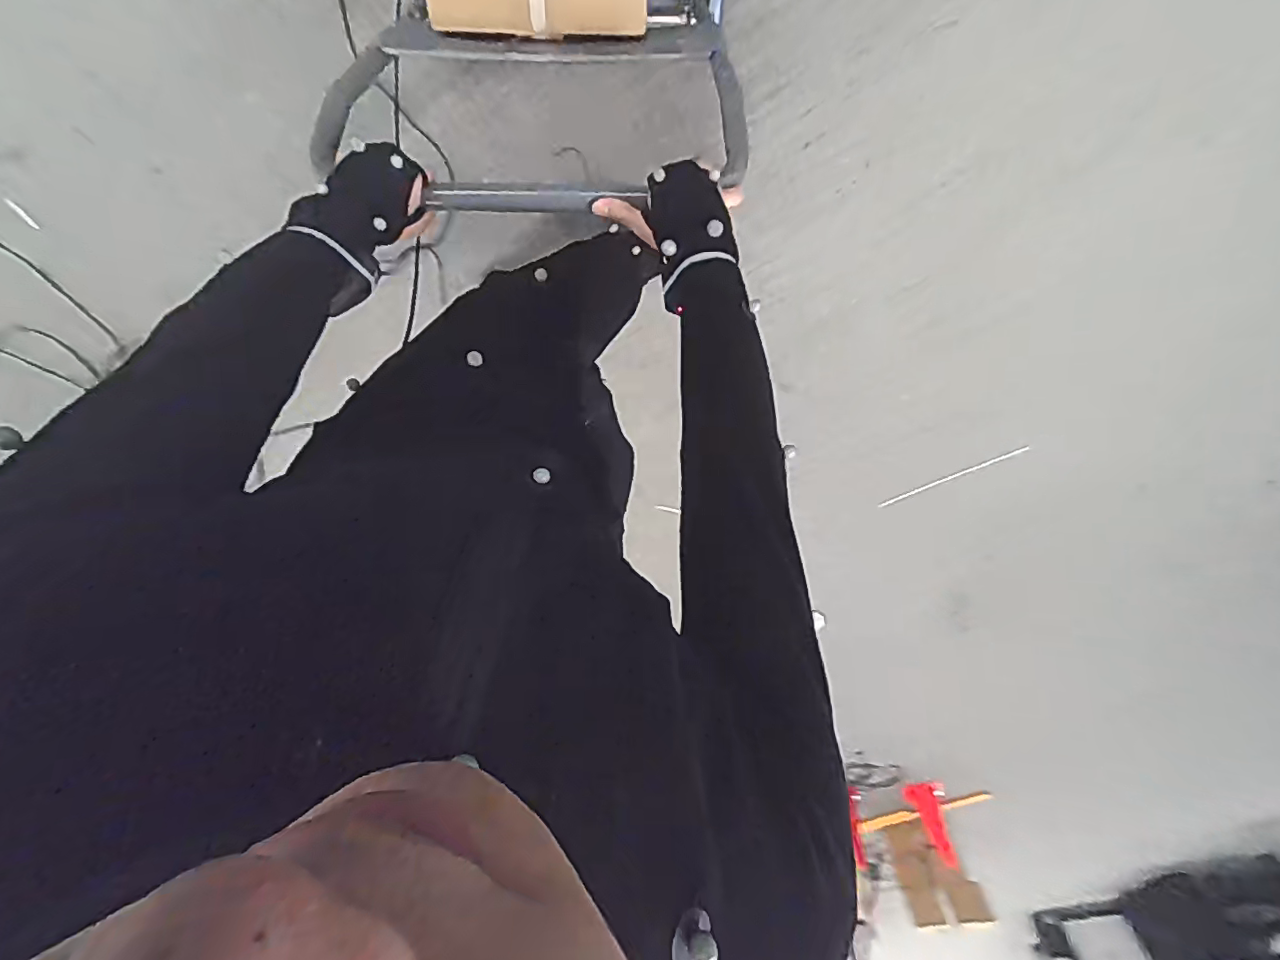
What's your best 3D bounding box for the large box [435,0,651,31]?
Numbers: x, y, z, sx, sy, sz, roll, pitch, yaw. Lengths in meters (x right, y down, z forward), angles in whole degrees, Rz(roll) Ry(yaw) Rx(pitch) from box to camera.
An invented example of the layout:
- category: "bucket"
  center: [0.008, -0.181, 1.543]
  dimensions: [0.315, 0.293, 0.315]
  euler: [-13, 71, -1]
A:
- category: "large box"
  center: [-0.140, -0.908, 0.756]
  dimensions: [0.320, 0.320, 0.408]
  euler: [0, 137, -1]
